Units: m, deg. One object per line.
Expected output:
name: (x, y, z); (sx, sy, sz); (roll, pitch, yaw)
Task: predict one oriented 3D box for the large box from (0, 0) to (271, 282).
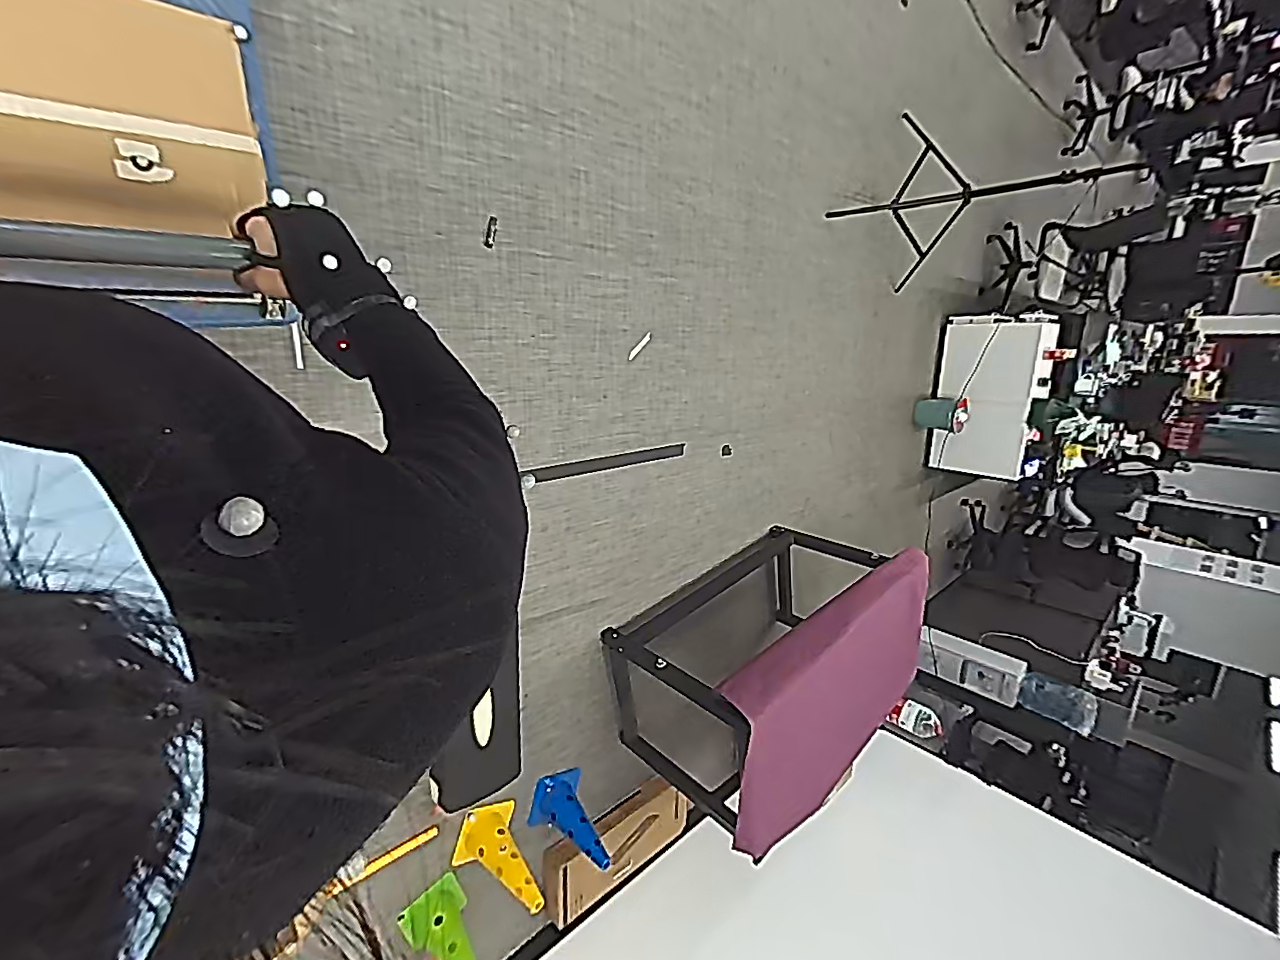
large box: (-0.817, -0.464, 0.769); (0.408, 0.320, 0.320); (-14, 110, -41)
